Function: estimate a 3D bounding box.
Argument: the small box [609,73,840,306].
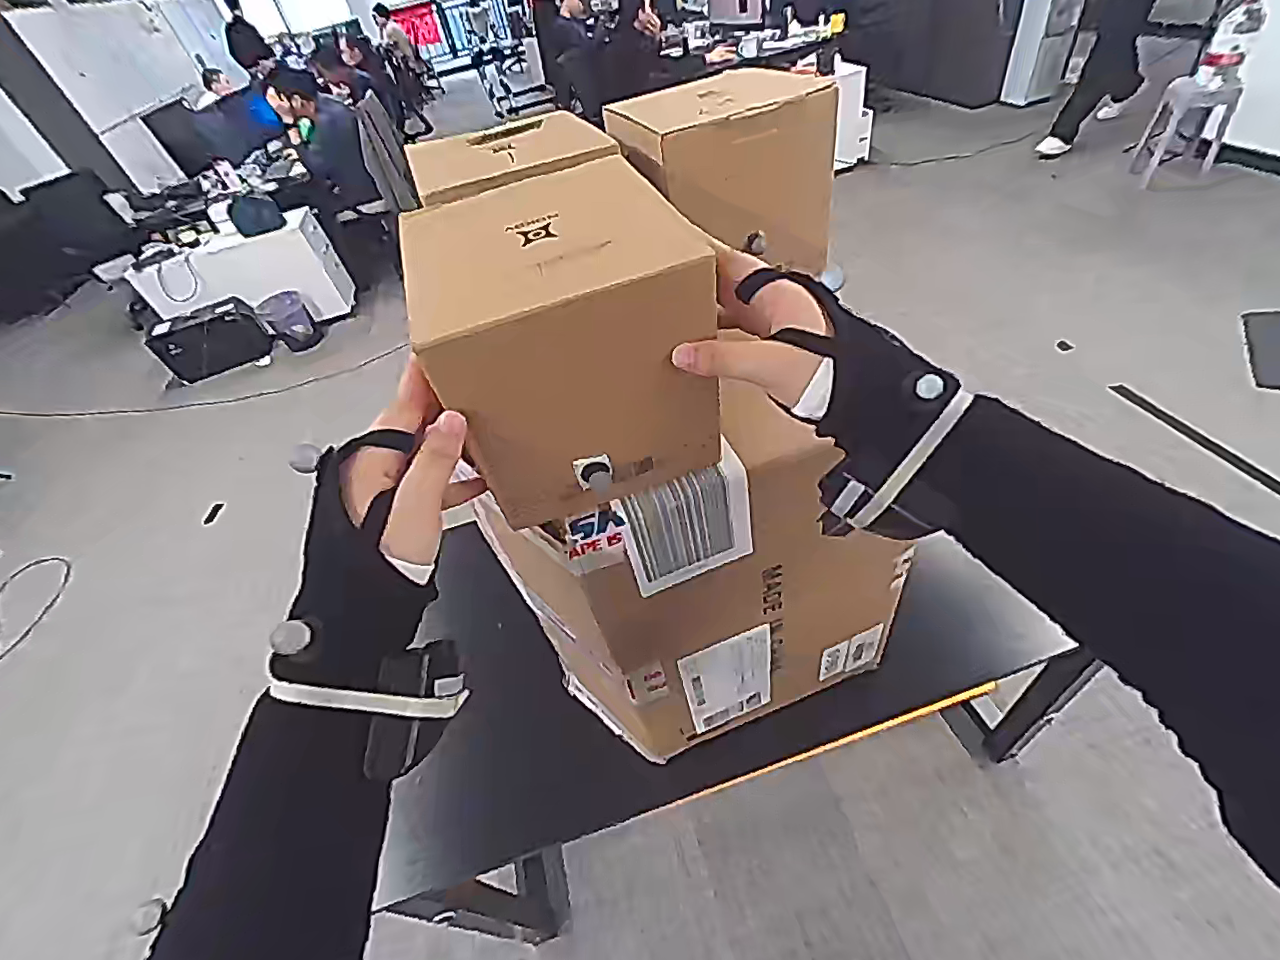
[{"bbox_3d":[0.081,-0.298,0.562,0.168,0.176,0.179,-20,44,-7],"label":"small box"}]

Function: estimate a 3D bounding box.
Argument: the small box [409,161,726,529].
[{"bbox_3d":[-0.048,-0.096,0.392,0.168,0.176,0.179,-20,50,-6],"label":"small box"}]
